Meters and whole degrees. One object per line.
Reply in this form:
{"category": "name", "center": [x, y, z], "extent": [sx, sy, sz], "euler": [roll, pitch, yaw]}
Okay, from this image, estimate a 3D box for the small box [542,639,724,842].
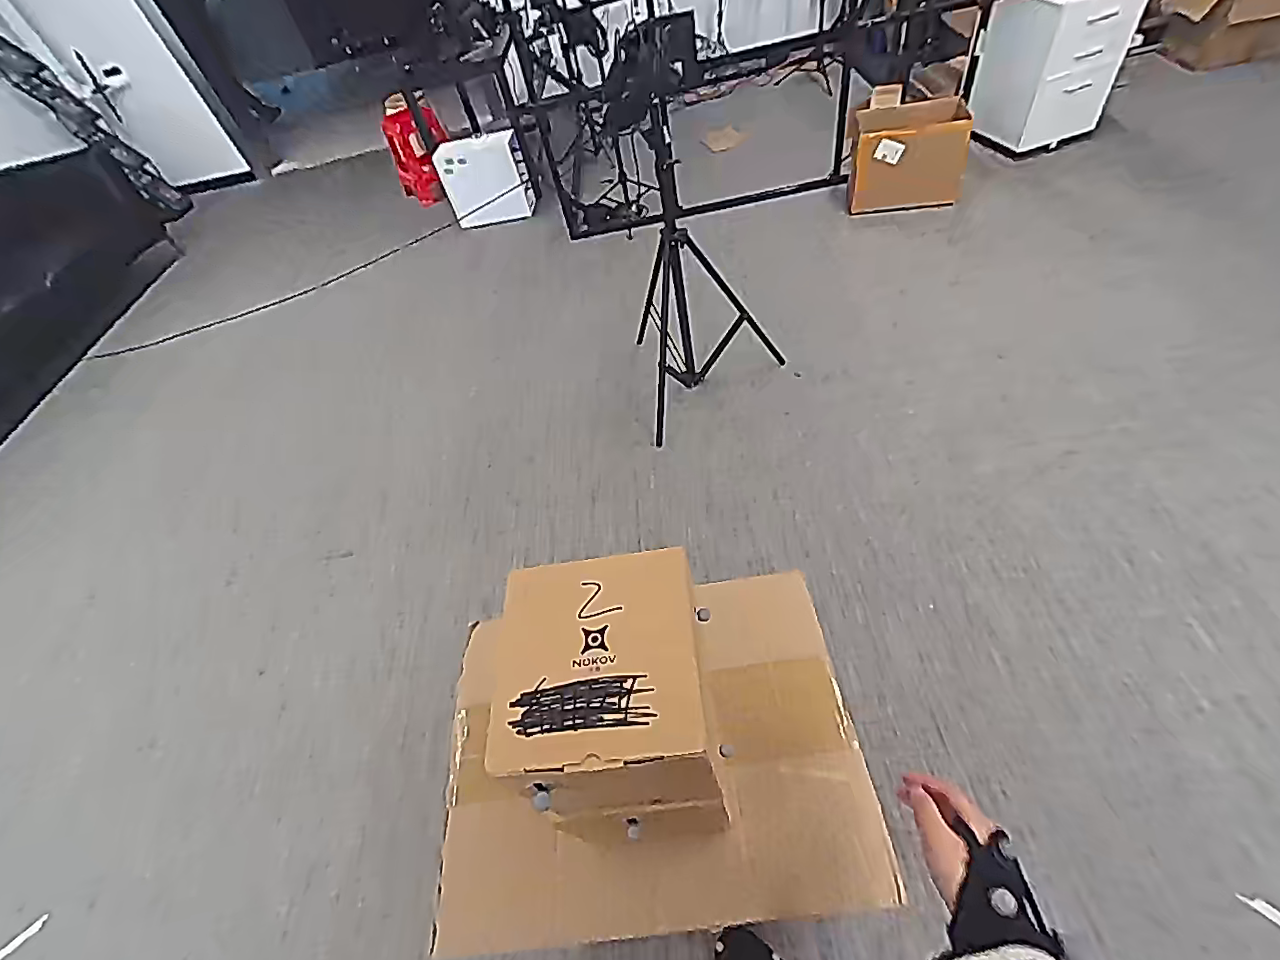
{"category": "small box", "center": [-0.002, 0.303, 0.620], "extent": [0.179, 0.176, 0.168], "euler": [-10, 50, 5]}
